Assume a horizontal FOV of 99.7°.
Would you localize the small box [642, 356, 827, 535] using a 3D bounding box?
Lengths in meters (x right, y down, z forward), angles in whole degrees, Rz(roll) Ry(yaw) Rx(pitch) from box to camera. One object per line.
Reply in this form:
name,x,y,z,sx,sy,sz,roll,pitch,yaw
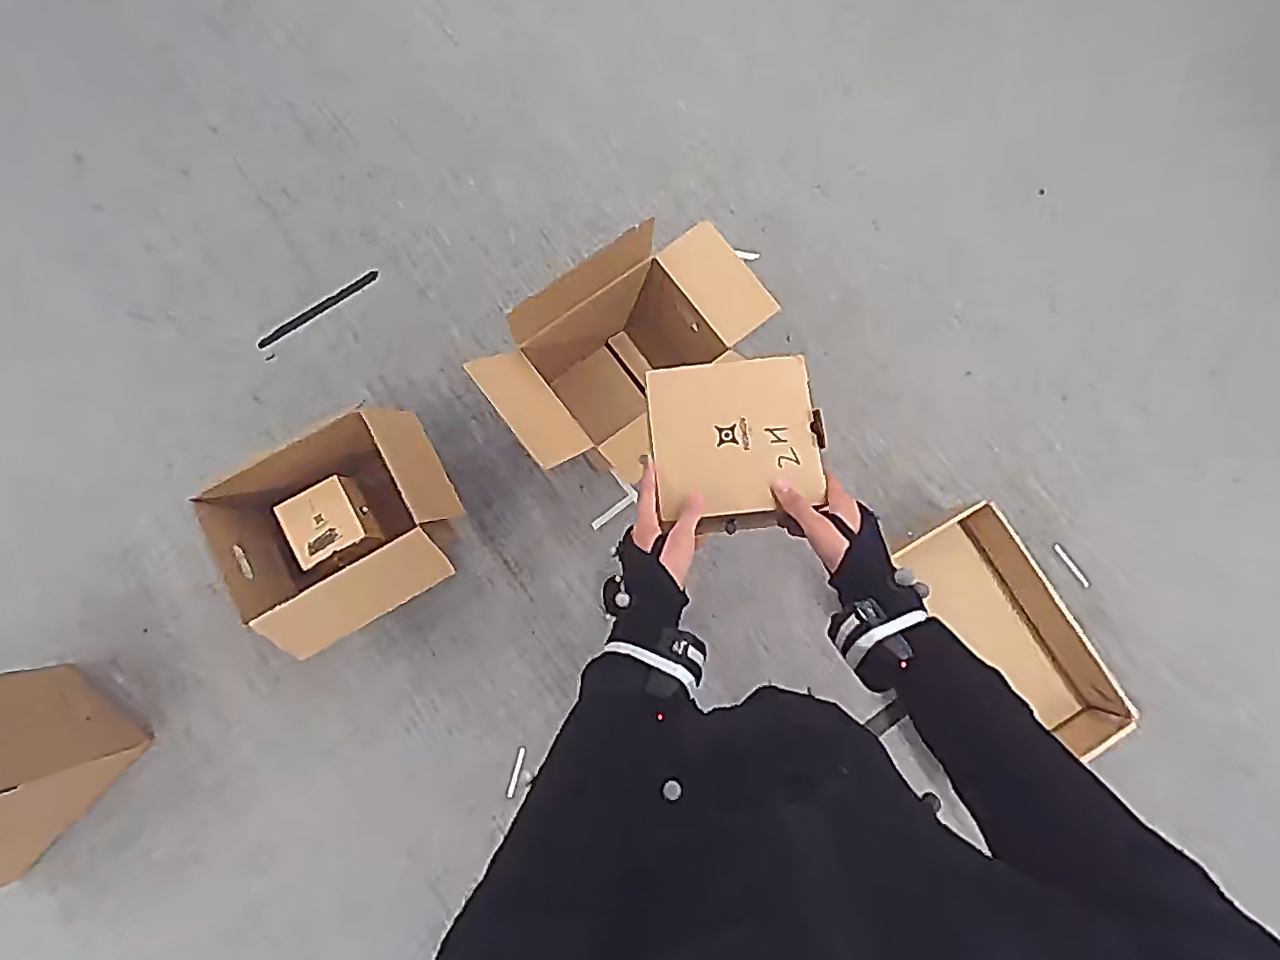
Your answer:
small box,0.099,-0.030,0.640,0.179,0.176,0.168,-6,78,0
